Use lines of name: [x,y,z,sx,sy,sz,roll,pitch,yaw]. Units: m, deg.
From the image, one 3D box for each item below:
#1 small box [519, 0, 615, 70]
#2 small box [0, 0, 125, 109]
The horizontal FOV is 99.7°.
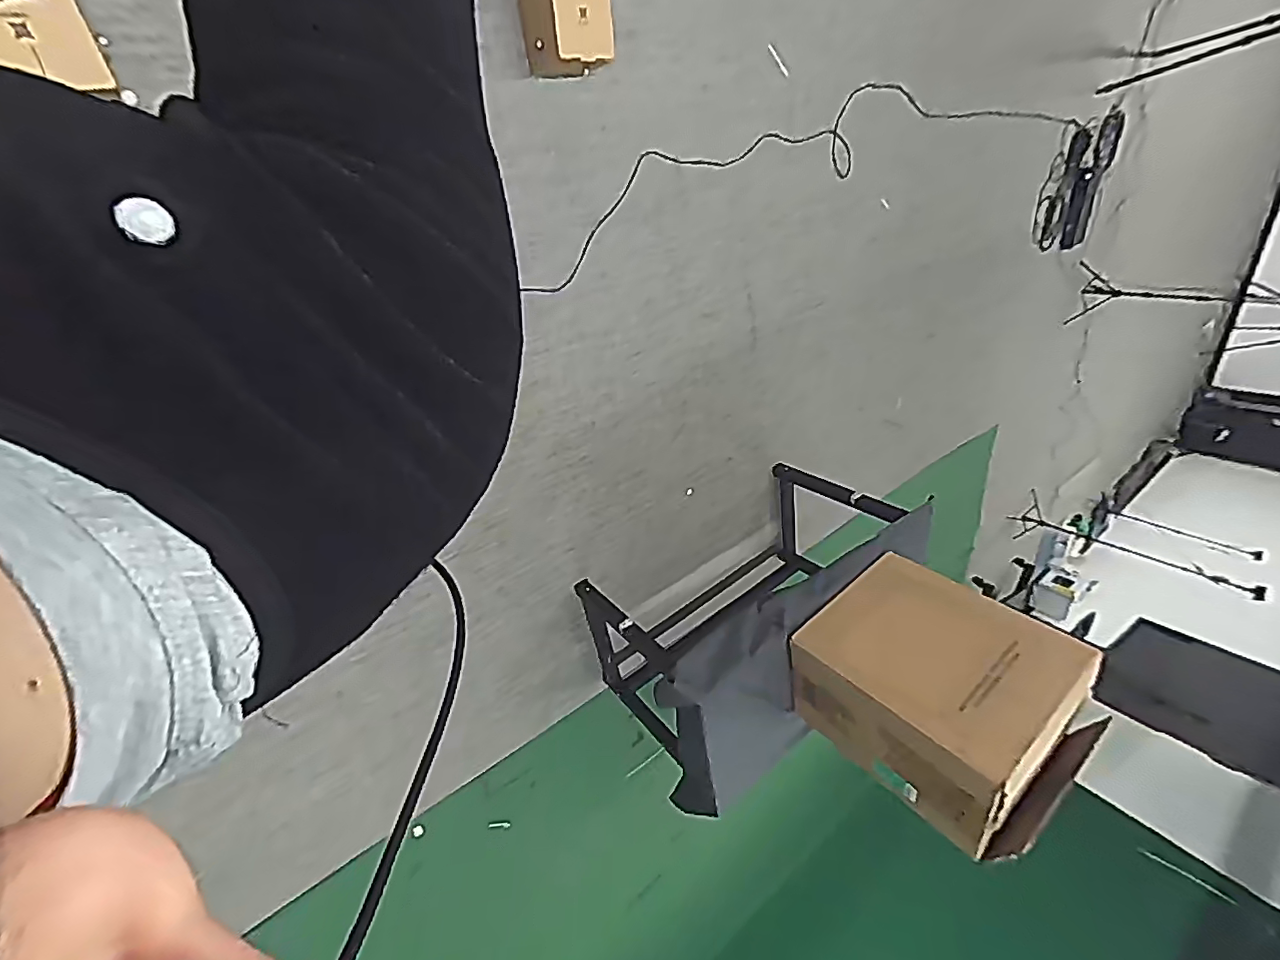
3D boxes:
small box: [-0.185,-1.145,1.348,0.168,0.176,0.179,-24,121,-28]
small box: [-1.004,-0.736,0.892,0.168,0.176,0.179,-26,124,-27]
